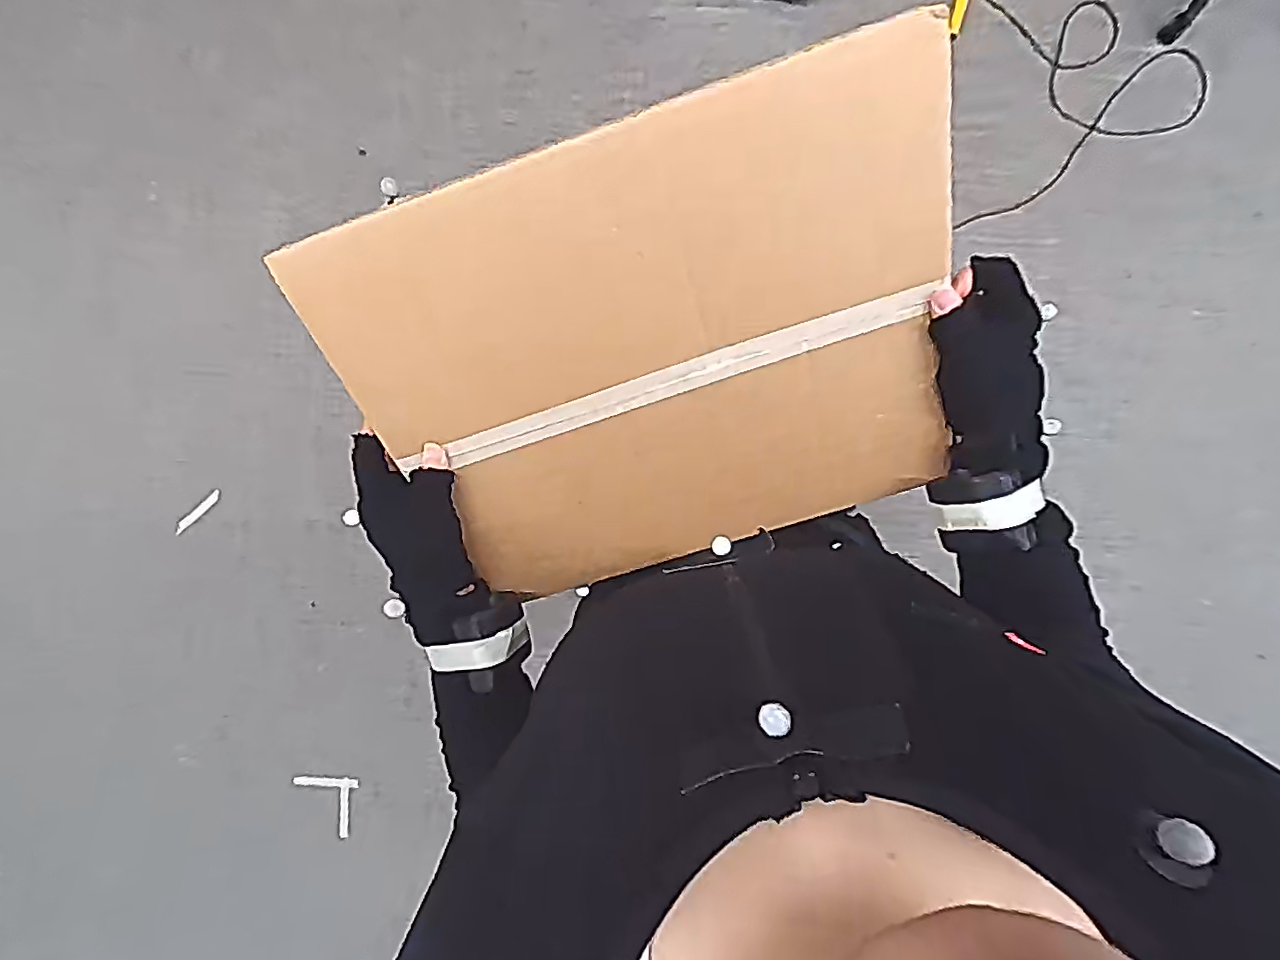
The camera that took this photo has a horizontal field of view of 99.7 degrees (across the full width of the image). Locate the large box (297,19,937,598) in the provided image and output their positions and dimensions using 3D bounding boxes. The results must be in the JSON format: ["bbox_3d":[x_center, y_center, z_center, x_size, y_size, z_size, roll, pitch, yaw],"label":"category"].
[{"bbox_3d":[0.002,-0.149,0.521,0.408,0.320,0.320,-17,122,6],"label":"large box"}]
